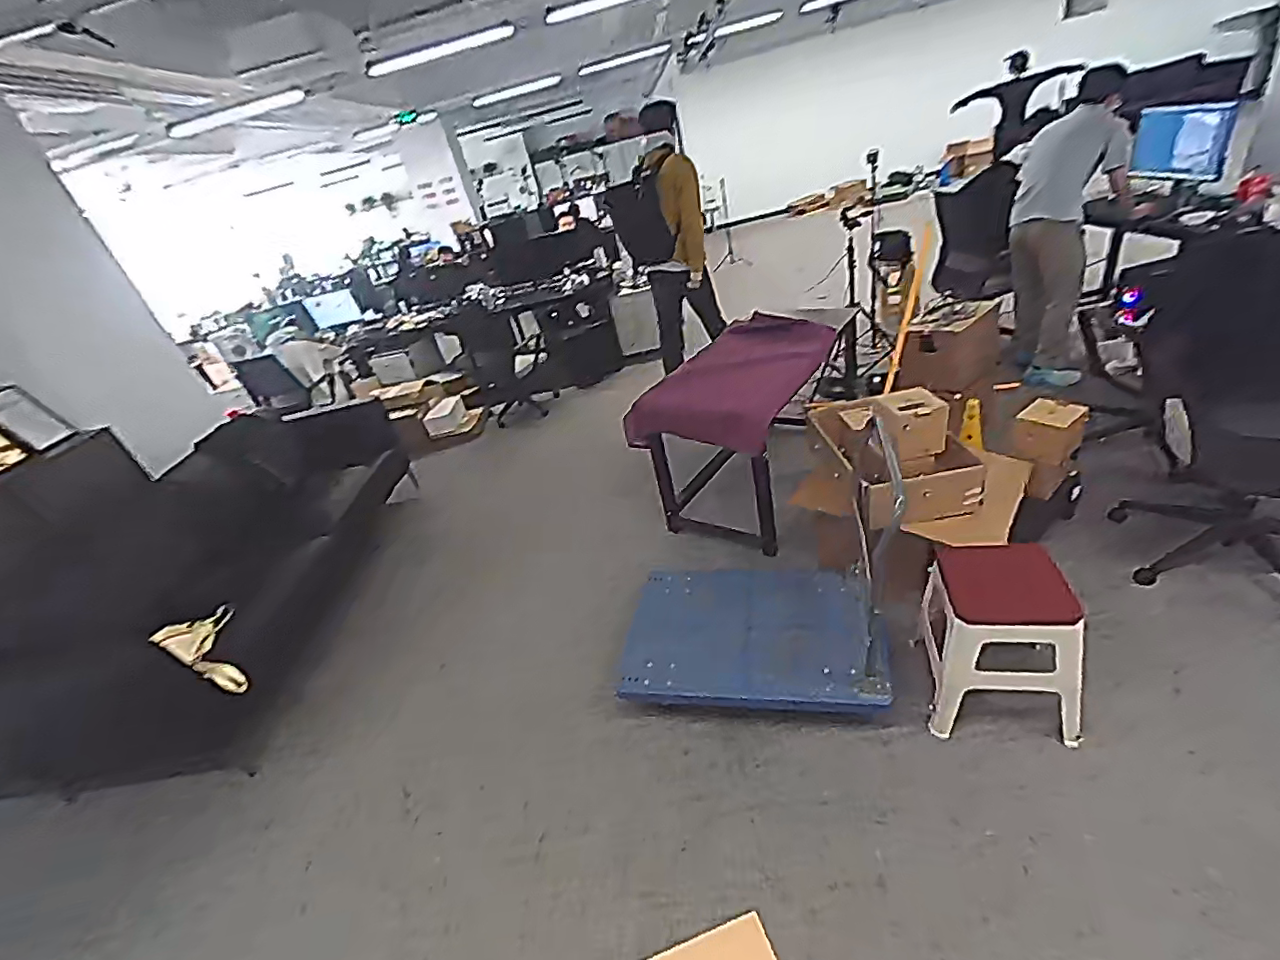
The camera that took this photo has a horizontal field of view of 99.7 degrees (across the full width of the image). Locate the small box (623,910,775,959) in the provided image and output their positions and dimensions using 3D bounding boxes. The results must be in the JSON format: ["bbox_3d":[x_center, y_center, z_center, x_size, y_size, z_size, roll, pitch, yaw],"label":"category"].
[{"bbox_3d":[0.062,0.518,0.443,0.168,0.176,0.179,-16,26,-8],"label":"small box"}]
